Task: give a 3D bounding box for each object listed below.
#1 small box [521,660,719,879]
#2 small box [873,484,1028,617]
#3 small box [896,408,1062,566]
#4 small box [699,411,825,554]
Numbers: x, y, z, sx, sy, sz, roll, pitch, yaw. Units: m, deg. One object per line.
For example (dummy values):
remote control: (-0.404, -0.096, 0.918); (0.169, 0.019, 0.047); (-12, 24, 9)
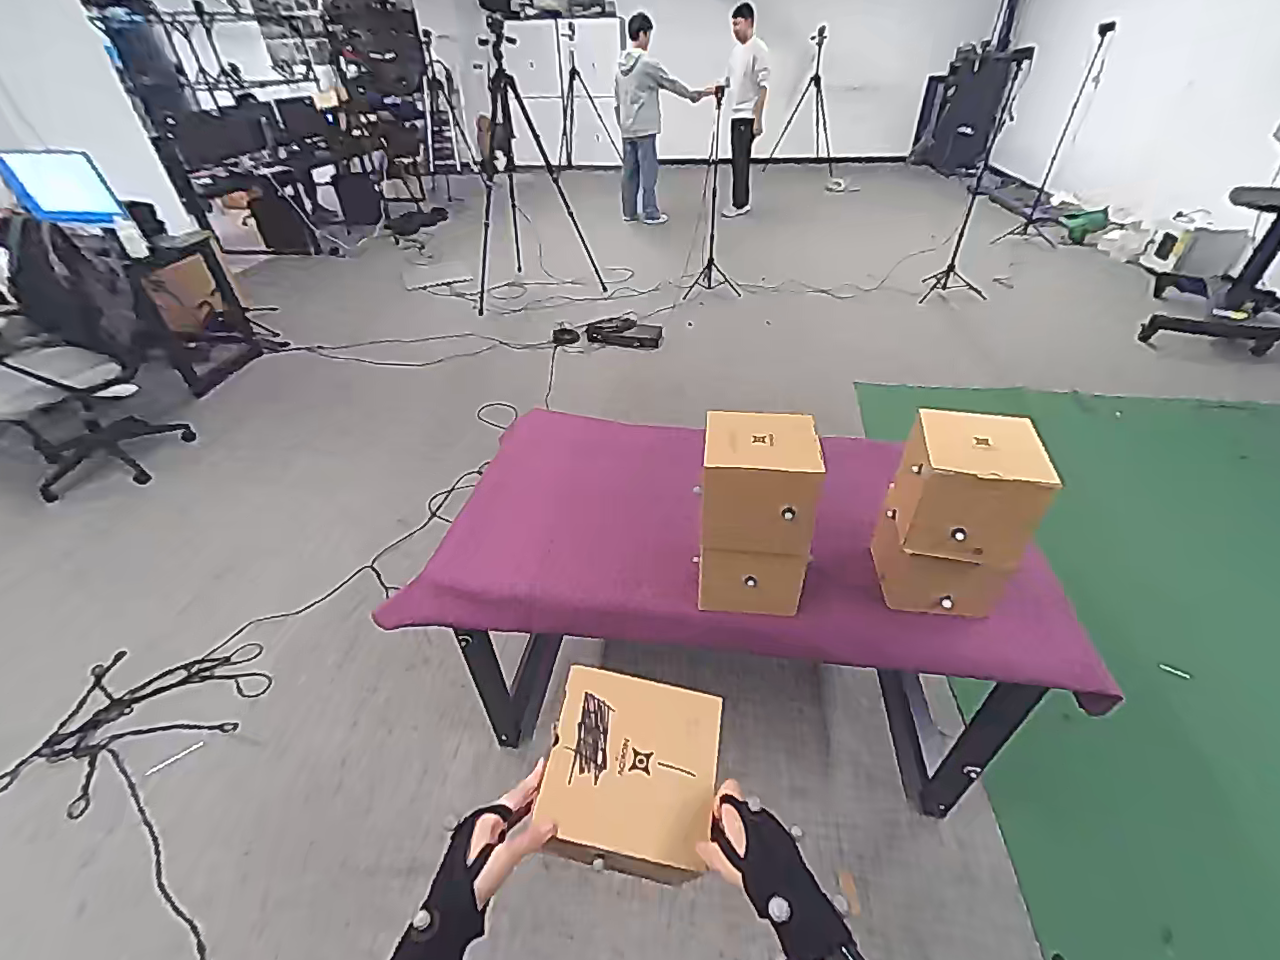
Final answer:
small box: (-0.020, 0.330, 0.610); (0.179, 0.176, 0.168); (12, 49, 2)
small box: (0.541, 0.127, 0.971); (0.179, 0.176, 0.168); (3, 37, 8)
small box: (0.518, 0.008, 0.859); (0.168, 0.176, 0.179); (8, 39, 14)
small box: (0.191, 0.004, 0.883); (0.179, 0.176, 0.168); (3, 36, 9)
